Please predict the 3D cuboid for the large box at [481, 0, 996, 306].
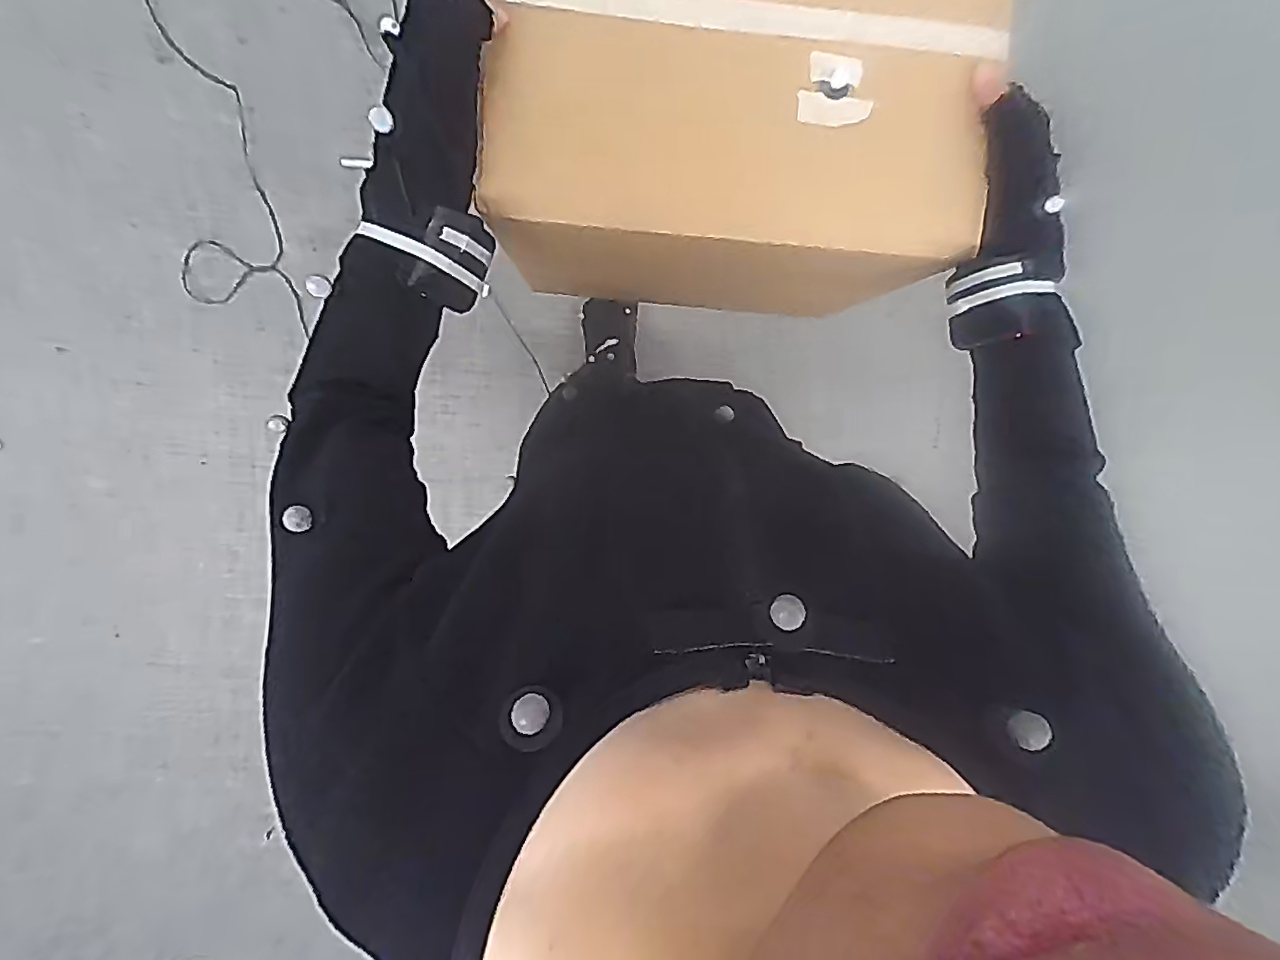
[{"bbox_3d":[0.069,-0.378,0.564,0.408,0.320,0.320,3,98,-4],"label":"large box"}]
